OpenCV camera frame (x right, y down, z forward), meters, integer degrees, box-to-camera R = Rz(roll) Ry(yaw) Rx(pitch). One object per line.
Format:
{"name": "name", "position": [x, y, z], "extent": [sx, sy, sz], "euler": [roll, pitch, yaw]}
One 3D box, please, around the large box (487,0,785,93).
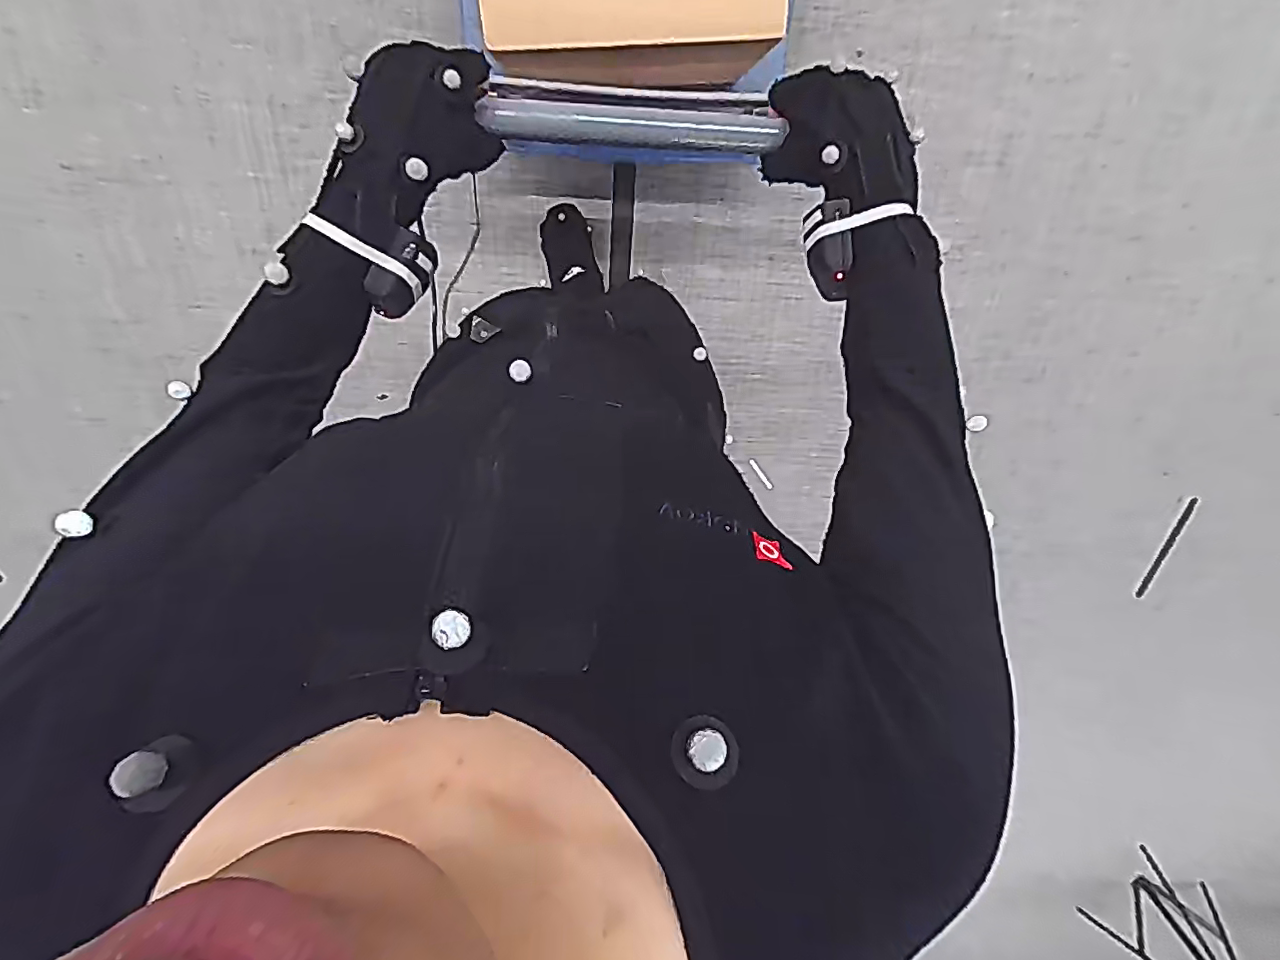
{"name": "large box", "position": [-0.021, -0.798, 0.801], "extent": [0.408, 0.320, 0.320], "euler": [-4, 118, -2]}
